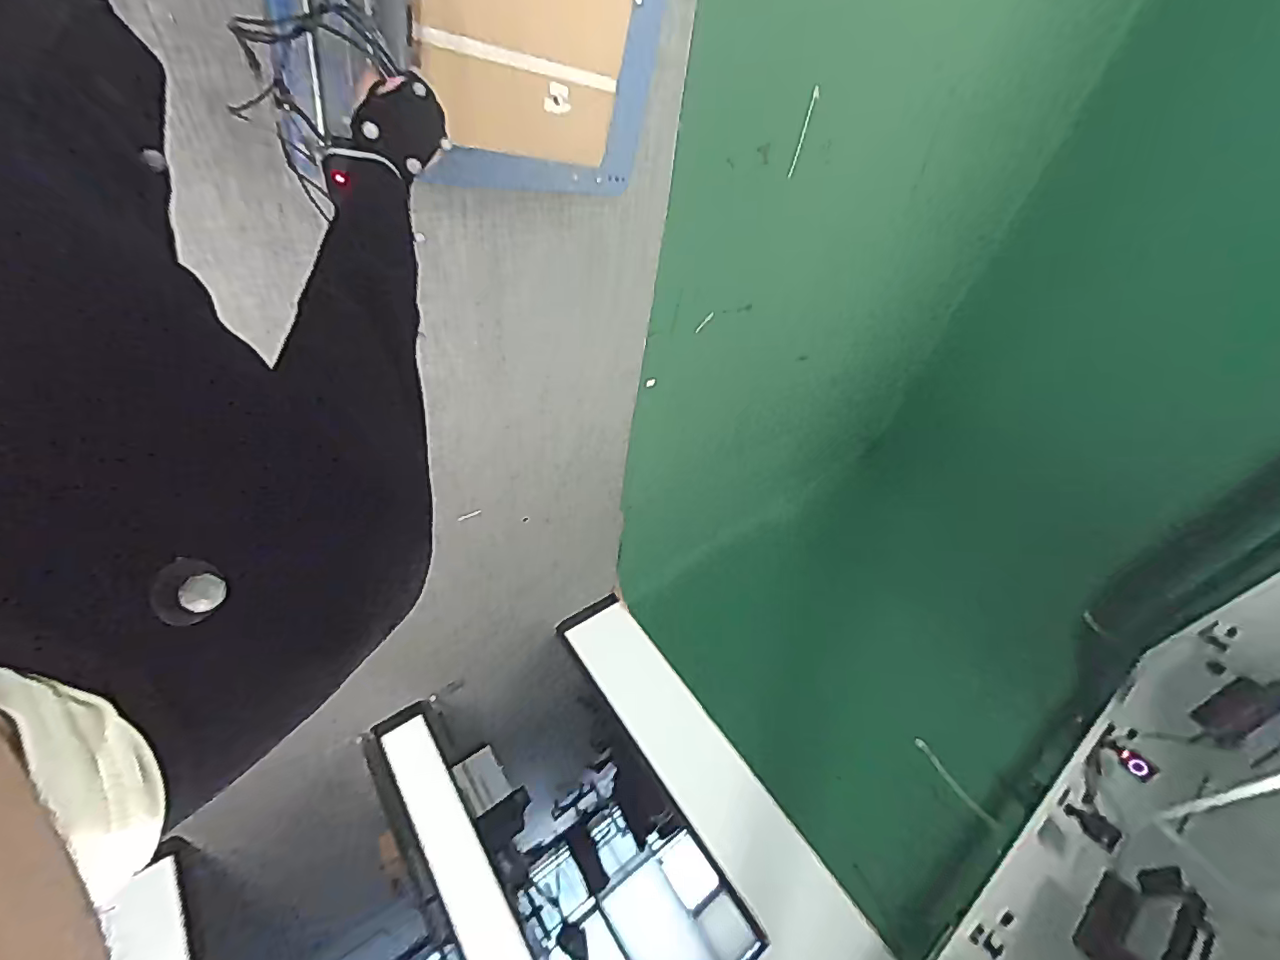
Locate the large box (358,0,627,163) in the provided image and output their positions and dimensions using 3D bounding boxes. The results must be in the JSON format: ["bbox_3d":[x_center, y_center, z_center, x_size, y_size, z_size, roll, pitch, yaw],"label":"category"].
[{"bbox_3d":[-0.297,-0.858,1.057,0.408,0.320,0.320,-17,141,-38],"label":"large box"}]
